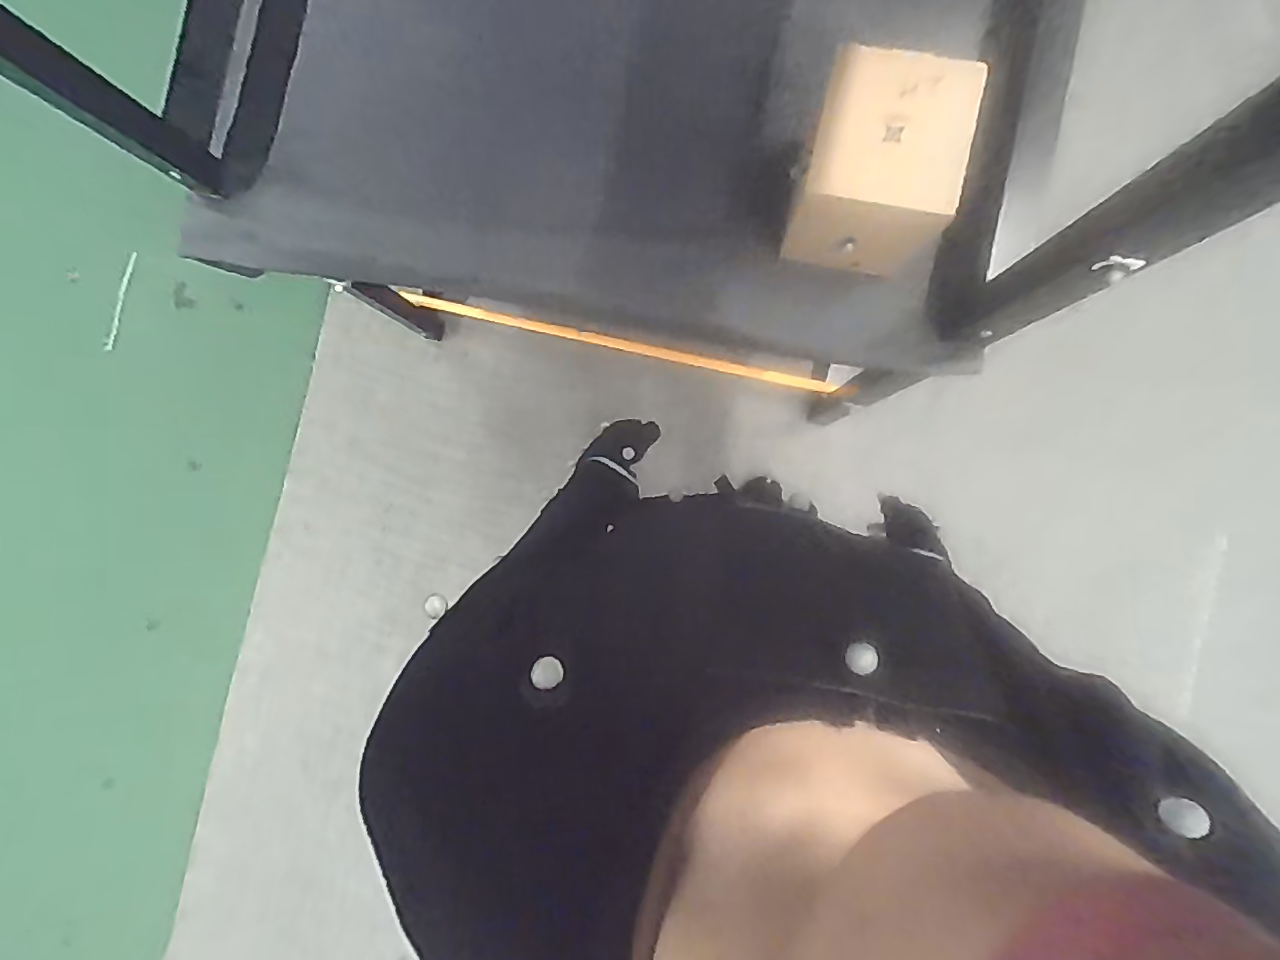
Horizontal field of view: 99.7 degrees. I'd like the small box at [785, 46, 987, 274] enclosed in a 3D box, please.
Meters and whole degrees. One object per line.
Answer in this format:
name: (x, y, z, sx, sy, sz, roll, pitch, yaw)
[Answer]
small box: (0.289, -0.383, 0.677, 0.168, 0.176, 0.179, 13, 89, 5)
